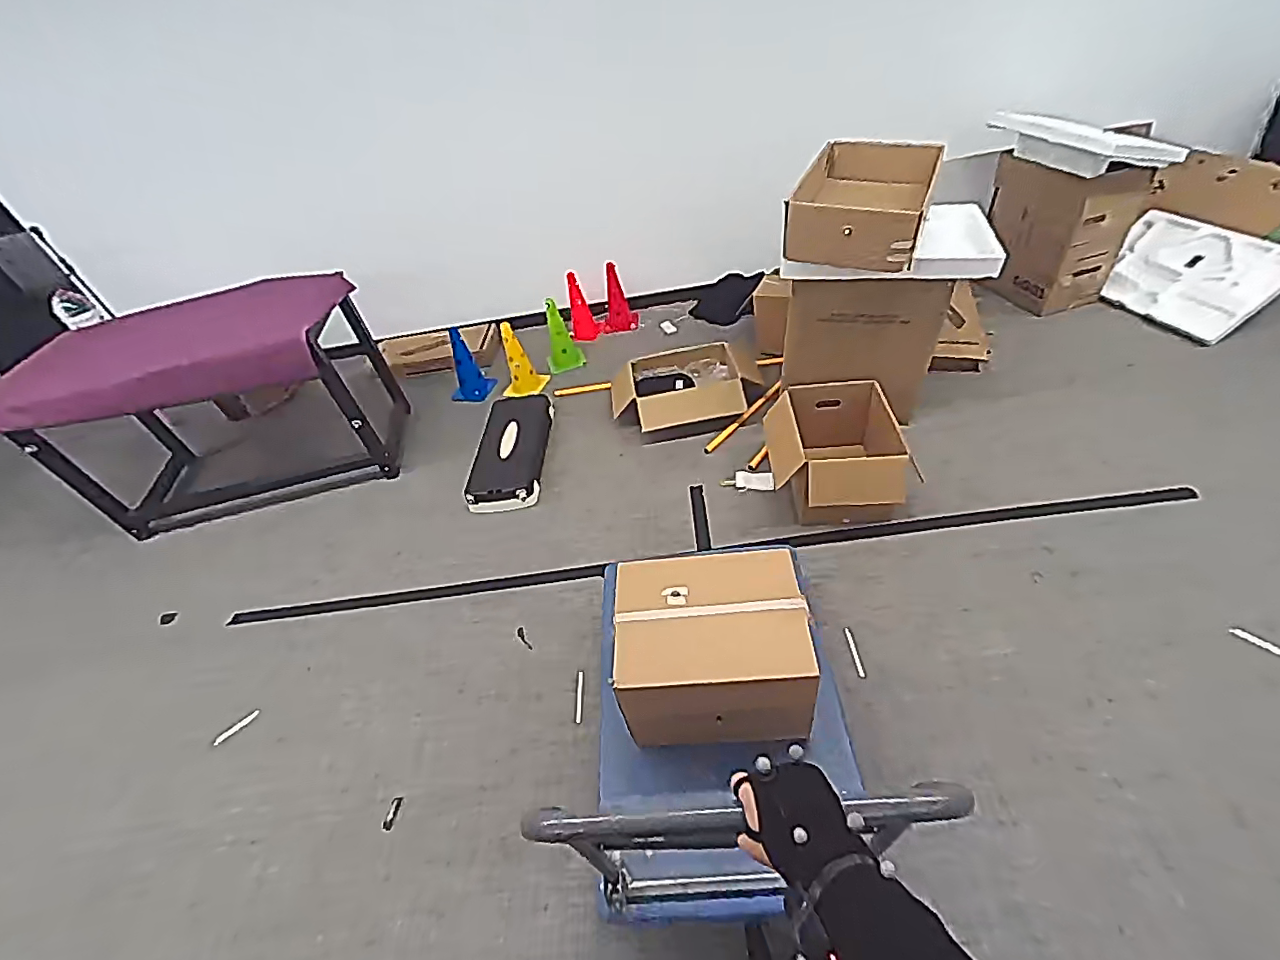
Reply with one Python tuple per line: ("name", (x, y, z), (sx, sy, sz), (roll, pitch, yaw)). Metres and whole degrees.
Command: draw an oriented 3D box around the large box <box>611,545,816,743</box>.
("large box", (0.163, 0.384, 1.252), (0.408, 0.320, 0.320), (-7, 42, 7))
